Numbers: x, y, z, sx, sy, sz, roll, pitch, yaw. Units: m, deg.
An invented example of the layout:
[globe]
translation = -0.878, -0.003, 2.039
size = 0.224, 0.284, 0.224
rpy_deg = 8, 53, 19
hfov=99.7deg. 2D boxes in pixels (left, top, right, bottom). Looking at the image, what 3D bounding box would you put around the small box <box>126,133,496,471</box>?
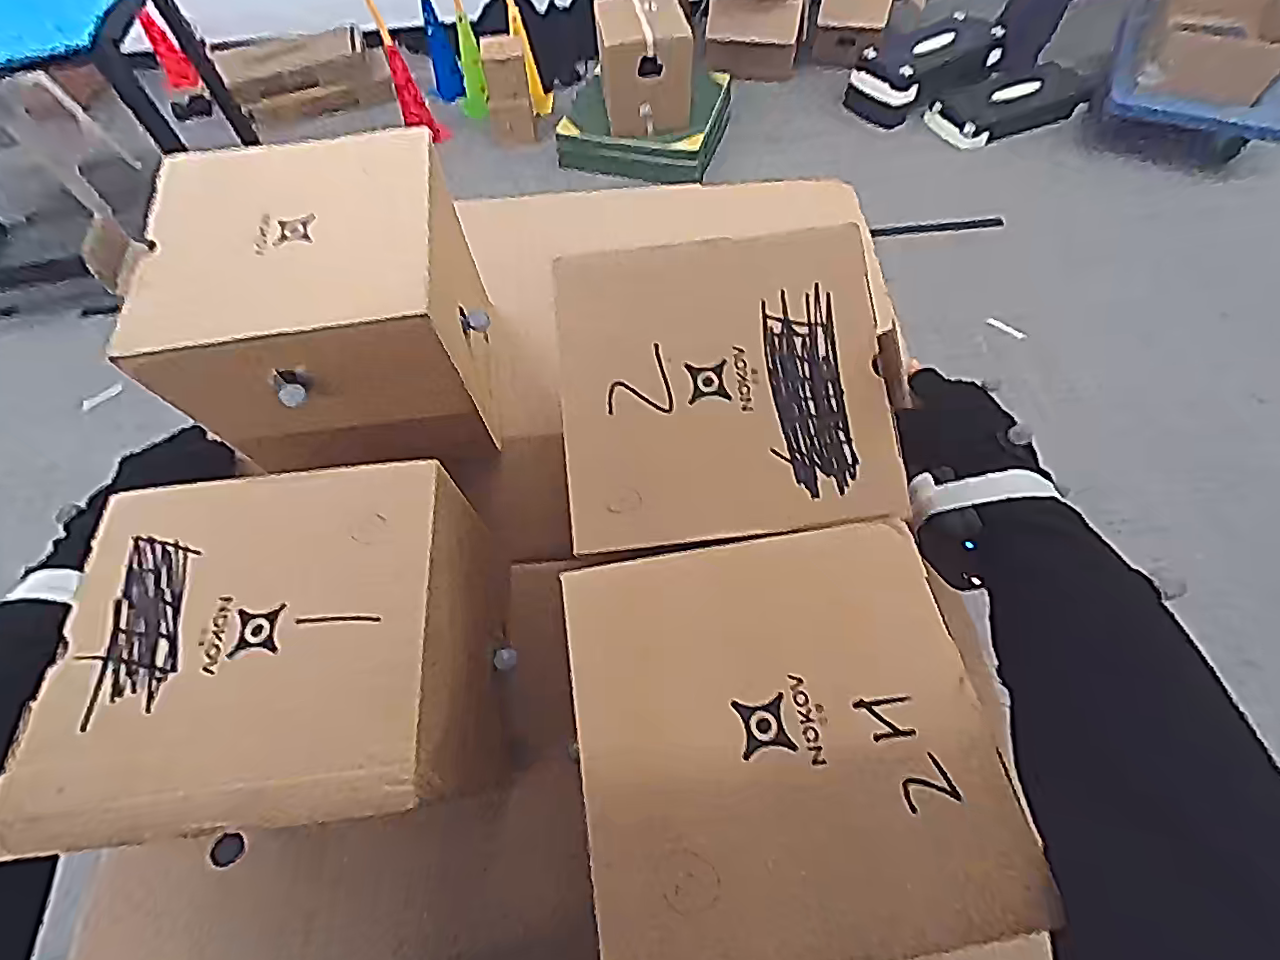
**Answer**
[small box]
translation = -0.214, -0.122, 0.413
size = 0.179, 0.176, 0.168
rpy_deg = -9, 65, -2
